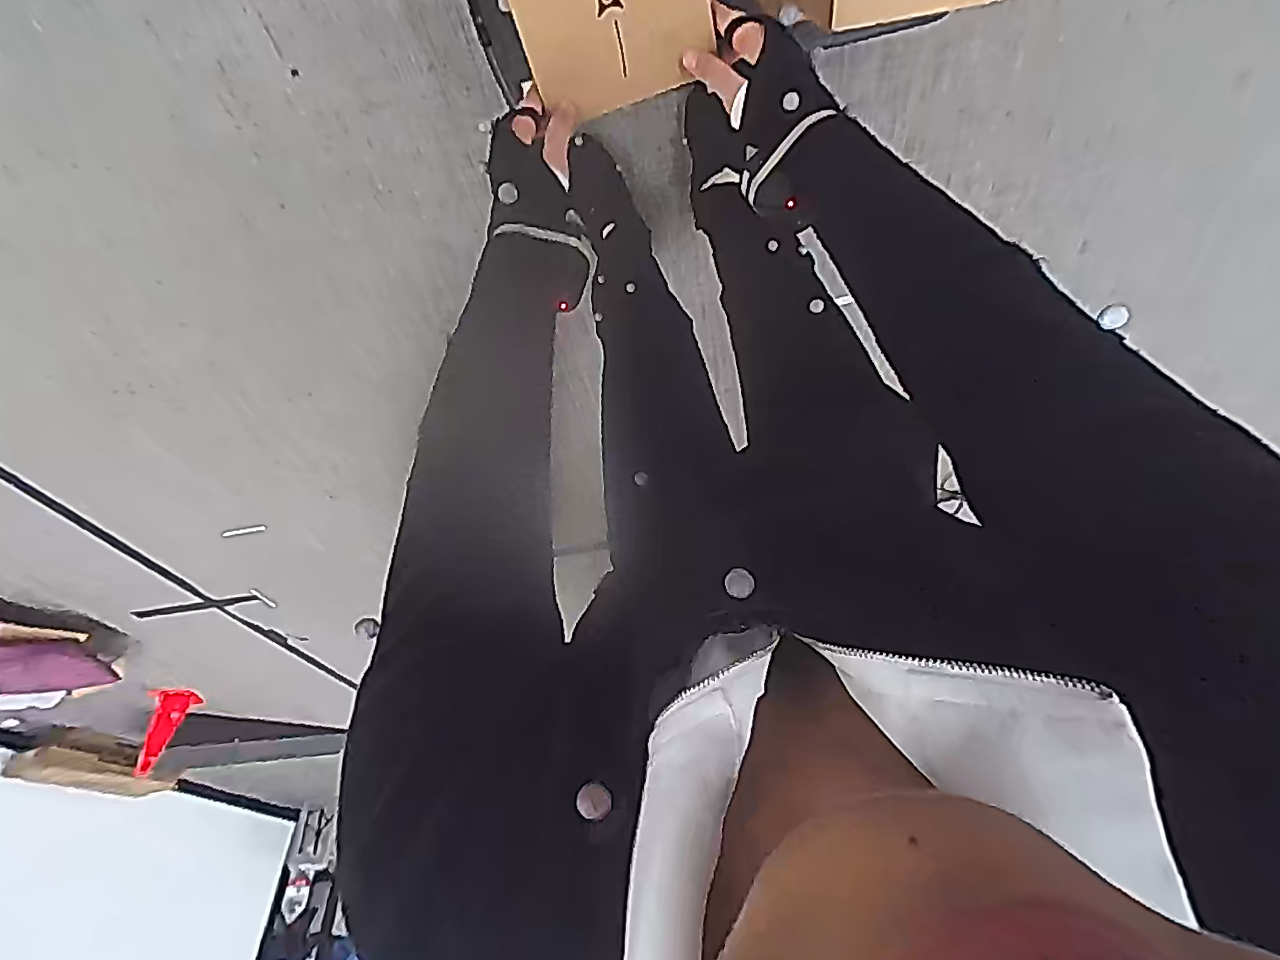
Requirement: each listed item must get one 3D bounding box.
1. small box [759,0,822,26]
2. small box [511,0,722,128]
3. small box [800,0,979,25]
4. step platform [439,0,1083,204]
[{"bbox_3d":[0.228,-0.644,0.602,0.179,0.176,0.168,-10,137,6],"label":"small box"},{"bbox_3d":[-0.032,-0.462,0.504,0.168,0.176,0.179,-15,129,9],"label":"small box"},{"bbox_3d":[0.239,-0.536,0.480,0.179,0.176,0.168,-7,139,4],"label":"small box"},{"bbox_3d":[0.126,-0.566,0.625,0.684,0.204,0.286,-11,138,6],"label":"step platform"}]
